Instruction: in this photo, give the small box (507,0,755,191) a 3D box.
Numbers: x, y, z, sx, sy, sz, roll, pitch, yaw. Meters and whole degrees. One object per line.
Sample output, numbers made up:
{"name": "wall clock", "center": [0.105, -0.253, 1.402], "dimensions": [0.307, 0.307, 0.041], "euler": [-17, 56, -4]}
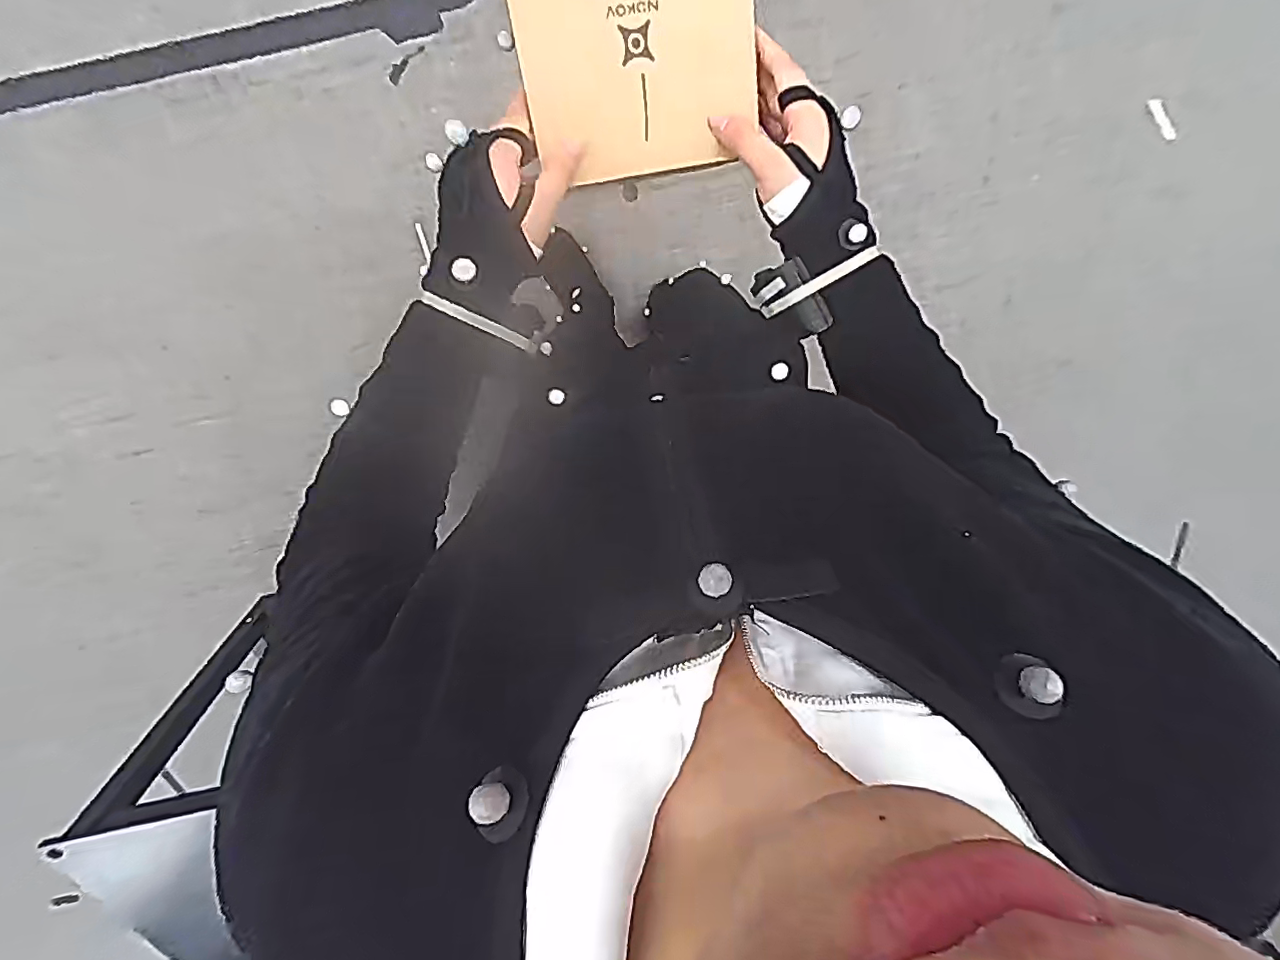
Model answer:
{"name": "small box", "center": [-0.015, -0.345, 0.436], "dimensions": [0.168, 0.176, 0.179], "euler": [-11, 117, -2]}
